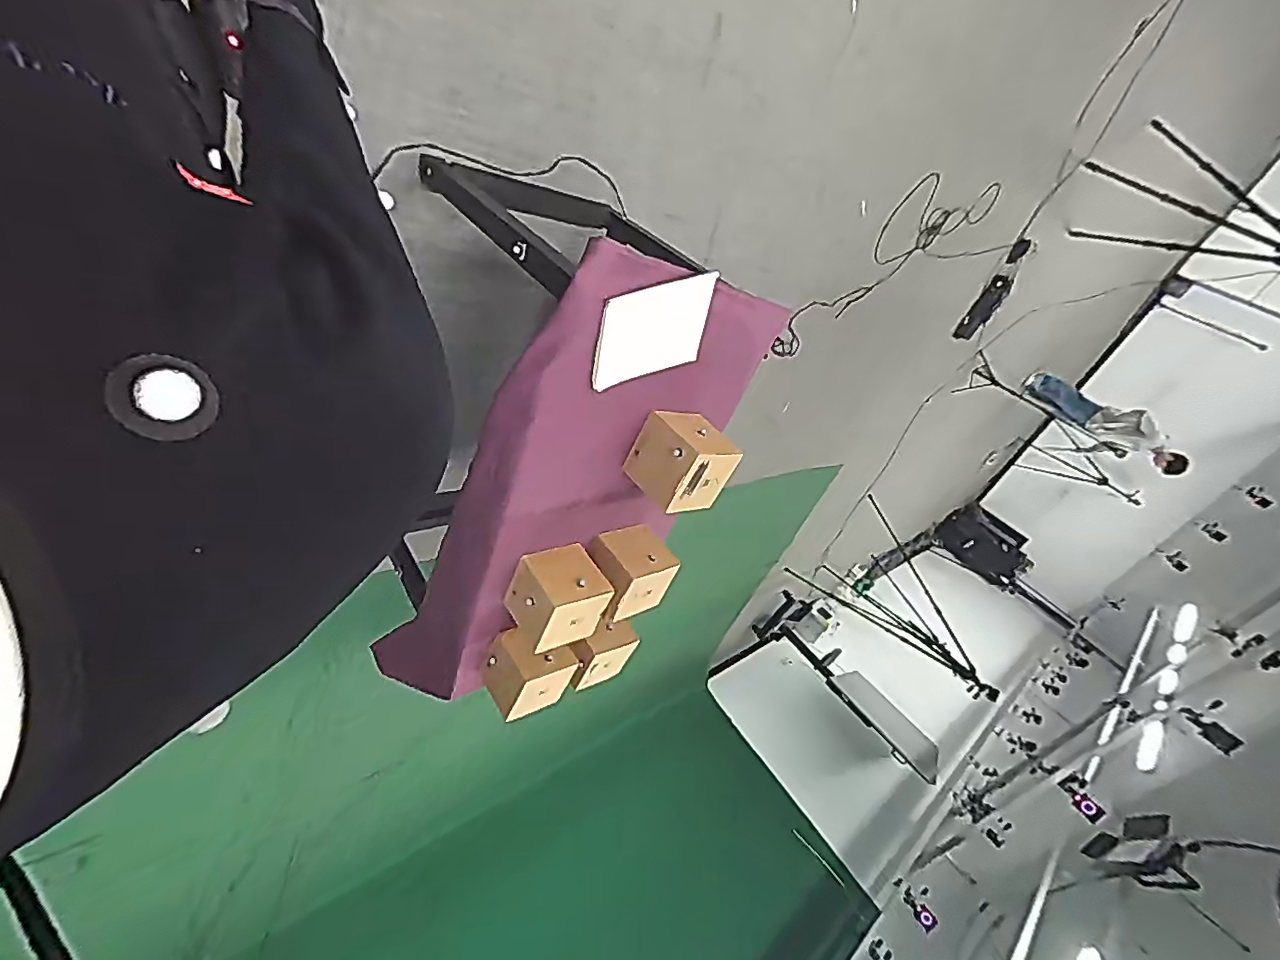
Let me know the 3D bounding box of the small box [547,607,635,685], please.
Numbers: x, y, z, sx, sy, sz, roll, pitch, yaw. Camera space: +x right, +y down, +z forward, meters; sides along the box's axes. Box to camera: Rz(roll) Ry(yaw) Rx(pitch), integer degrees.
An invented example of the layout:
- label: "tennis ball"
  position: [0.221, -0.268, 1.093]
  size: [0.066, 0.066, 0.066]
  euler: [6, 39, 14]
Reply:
- label: "small box"
  position: [-0.153, 0.475, 1.629]
  size: [0.179, 0.176, 0.168]
  euler: [-5, 132, -46]

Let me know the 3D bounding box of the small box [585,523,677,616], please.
- label: "small box"
  position: [-0.039, 0.233, 1.465]
  size: [0.179, 0.176, 0.168]
  euler: [-8, 135, -43]

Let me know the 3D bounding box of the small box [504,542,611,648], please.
- label: "small box"
  position: [-0.209, 0.274, 1.324]
  size: [0.179, 0.176, 0.168]
  euler: [-6, 132, -44]
